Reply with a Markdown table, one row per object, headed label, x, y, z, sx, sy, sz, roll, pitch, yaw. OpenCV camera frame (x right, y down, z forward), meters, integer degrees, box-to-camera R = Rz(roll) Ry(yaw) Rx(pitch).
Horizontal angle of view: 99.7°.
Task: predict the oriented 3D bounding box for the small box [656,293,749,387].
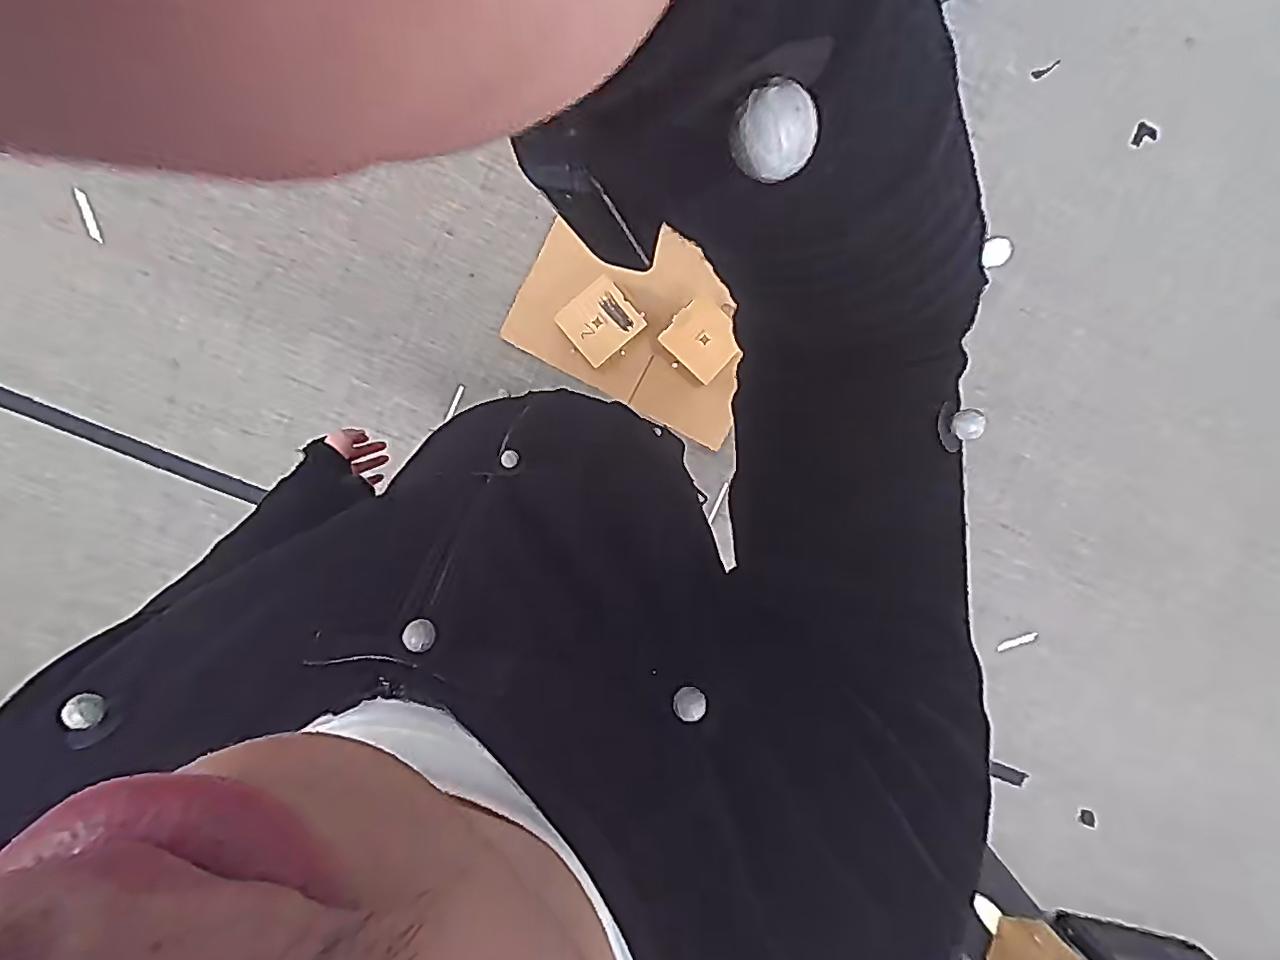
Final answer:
| label | x | y | z | sx | sy | sz | roll | pitch | yaw |
| --- | --- | --- | --- | --- | --- | --- | --- | --- | --- |
| small box | 0.162 | -0.368 | 1.458 | 0.179 | 0.176 | 0.168 | 42 | 93 | -5 |
